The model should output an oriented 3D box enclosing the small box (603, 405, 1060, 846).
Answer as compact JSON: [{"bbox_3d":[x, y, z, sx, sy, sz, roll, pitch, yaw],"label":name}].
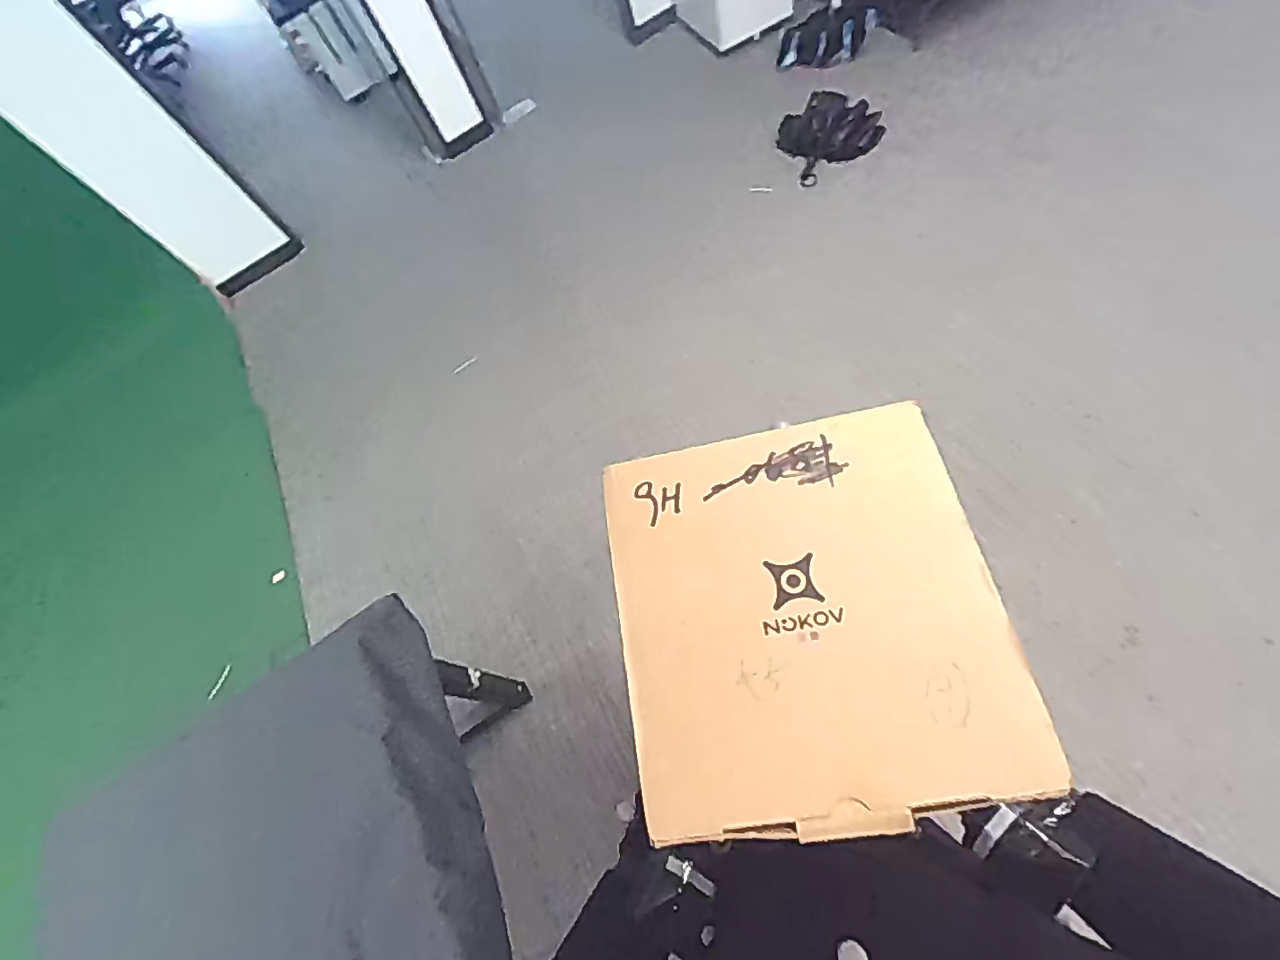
[{"bbox_3d":[0.086,0.084,0.318,0.168,0.176,0.179,-12,68,7],"label":"small box"}]
